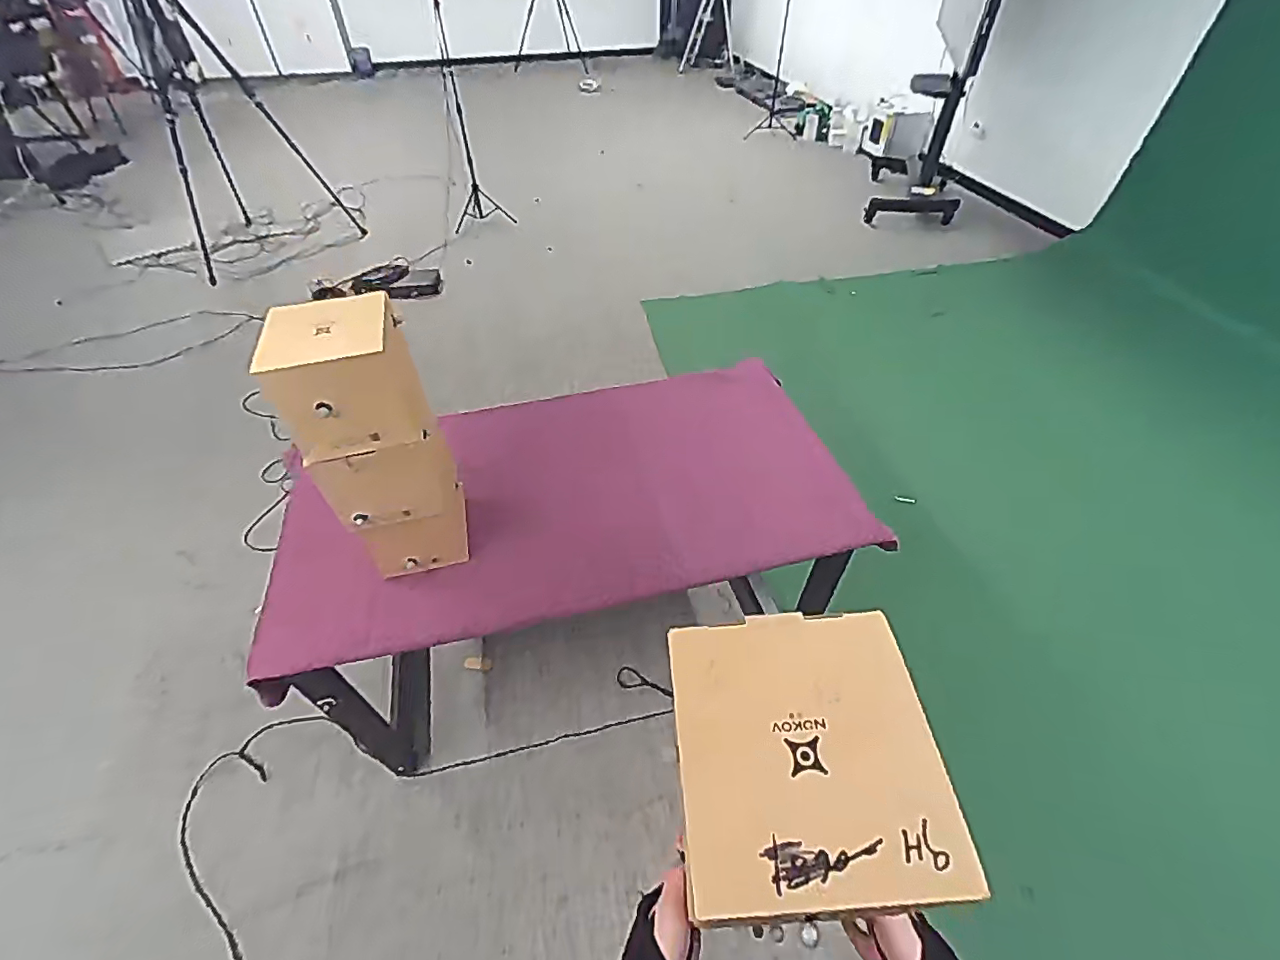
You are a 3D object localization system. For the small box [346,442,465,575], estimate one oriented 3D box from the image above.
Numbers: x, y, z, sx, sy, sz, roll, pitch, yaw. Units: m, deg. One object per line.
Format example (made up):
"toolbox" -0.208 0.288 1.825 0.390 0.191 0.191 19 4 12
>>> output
"small box" -0.441 0.056 1.043 0.168 0.176 0.179 -11 48 -10

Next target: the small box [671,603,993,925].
"small box" 0.111 0.214 0.406 0.168 0.176 0.179 -5 49 2

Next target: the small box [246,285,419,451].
"small box" -0.435 -0.160 0.799 0.168 0.176 0.179 -13 47 -11

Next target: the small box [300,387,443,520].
"small box" -0.440 -0.049 0.917 0.168 0.176 0.179 -11 47 -10
